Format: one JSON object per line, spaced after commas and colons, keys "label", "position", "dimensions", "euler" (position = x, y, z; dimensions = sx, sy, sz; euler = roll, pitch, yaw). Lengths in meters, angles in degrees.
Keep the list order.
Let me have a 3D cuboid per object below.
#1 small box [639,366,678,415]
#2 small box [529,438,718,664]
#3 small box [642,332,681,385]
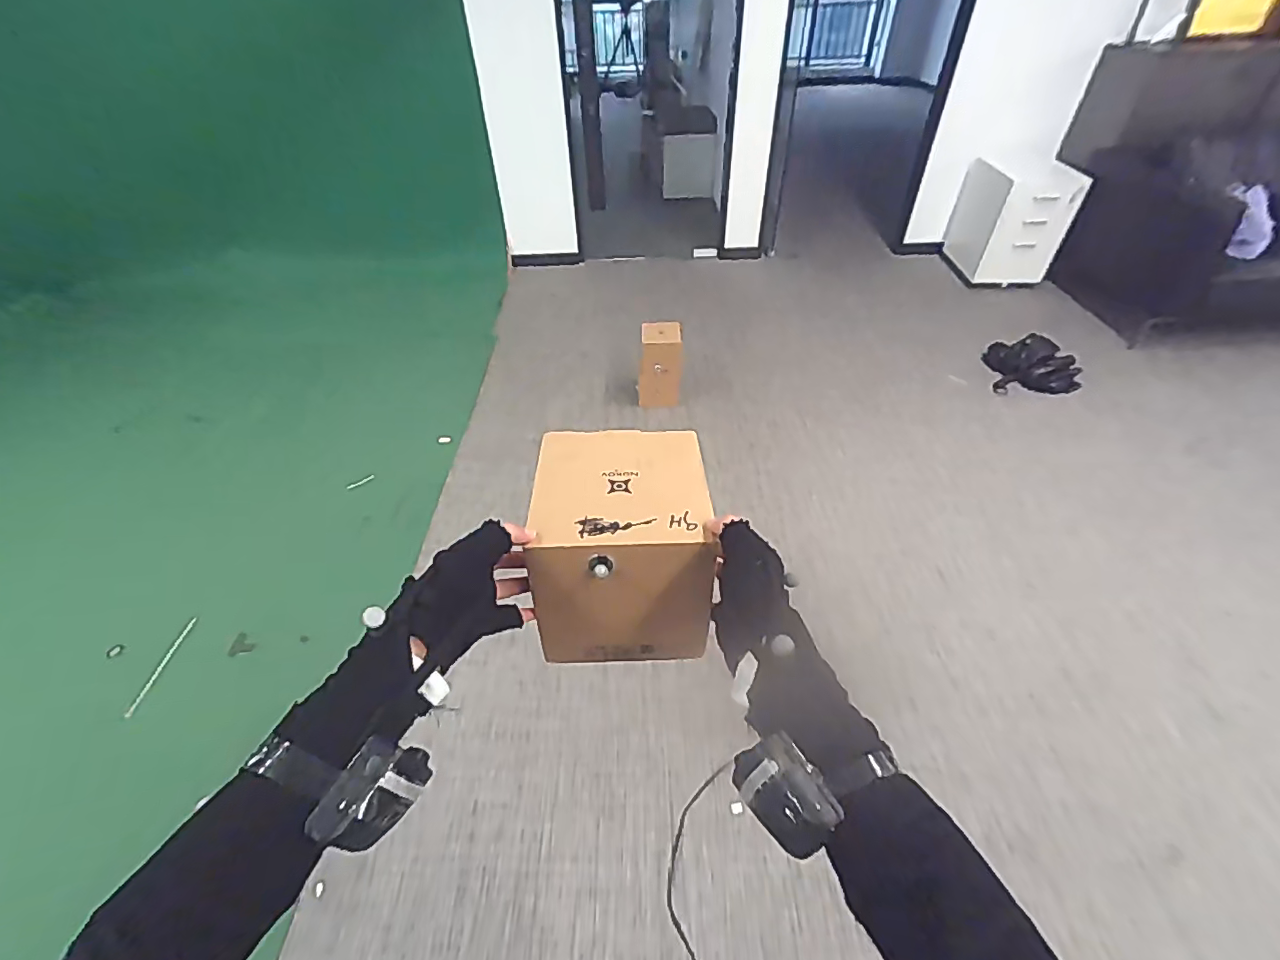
{"label": "small box", "position": [0.085, -0.414, 2.500], "dimensions": [0.179, 0.176, 0.168], "euler": [-1, 43, 3]}
{"label": "small box", "position": [-0.015, 0.071, 0.574], "dimensions": [0.168, 0.176, 0.179], "euler": [-2, 36, -1]}
{"label": "small box", "position": [0.096, -0.538, 2.397], "dimensions": [0.168, 0.176, 0.179], "euler": [-2, 43, 2]}
